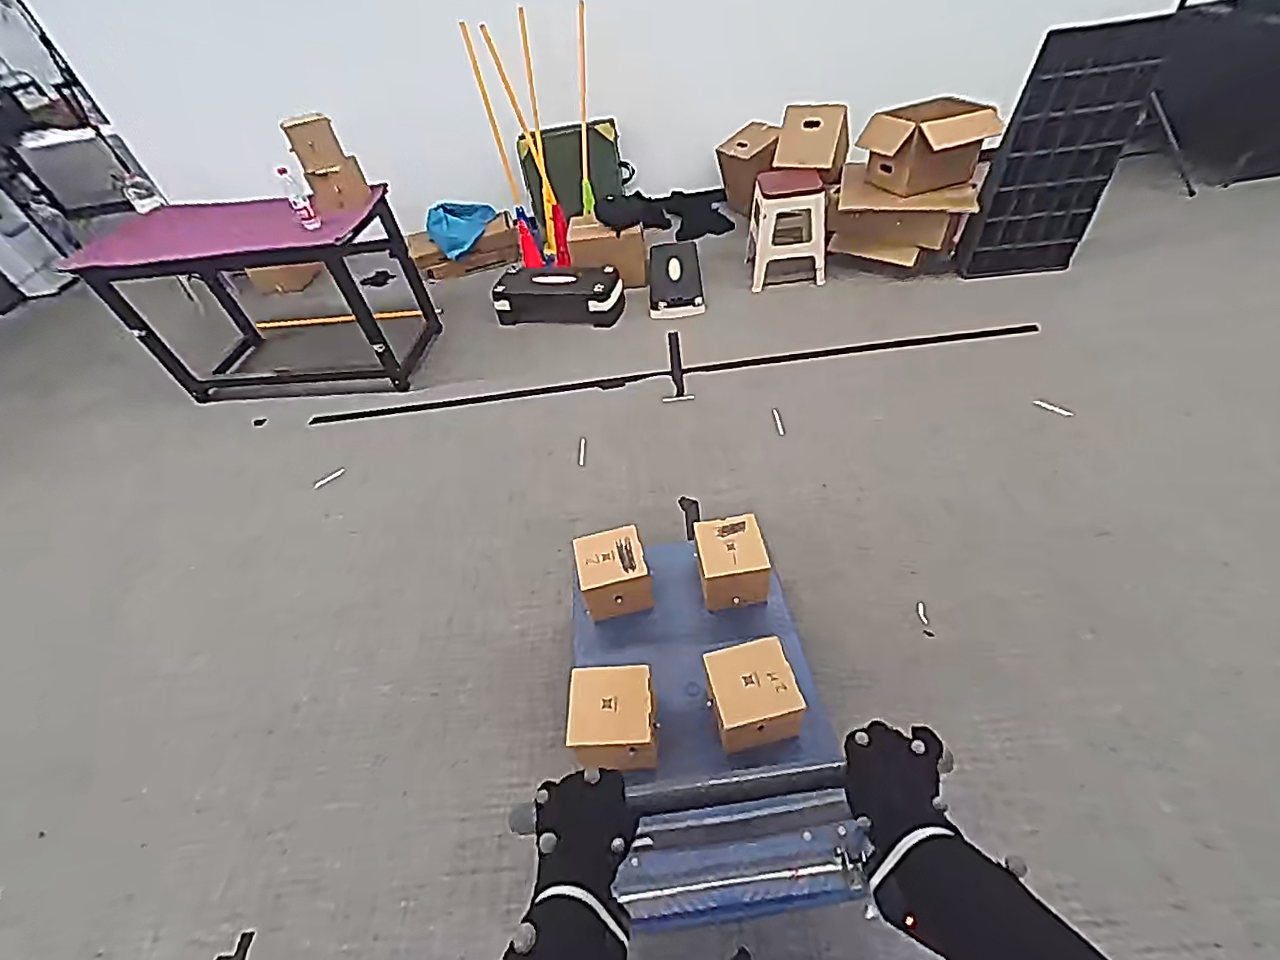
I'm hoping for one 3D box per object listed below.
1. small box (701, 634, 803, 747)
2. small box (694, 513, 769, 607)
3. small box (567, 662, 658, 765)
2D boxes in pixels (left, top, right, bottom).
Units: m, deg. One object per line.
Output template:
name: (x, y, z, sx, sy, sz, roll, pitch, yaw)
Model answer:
small box: (0.247, 0.475, 1.212, 0.179, 0.176, 0.168, -13, 47, -3)
small box: (0.239, 0.217, 1.451, 0.168, 0.176, 0.179, -10, 48, 1)
small box: (-0.056, 0.528, 1.215, 0.179, 0.176, 0.168, -4, 46, 3)
